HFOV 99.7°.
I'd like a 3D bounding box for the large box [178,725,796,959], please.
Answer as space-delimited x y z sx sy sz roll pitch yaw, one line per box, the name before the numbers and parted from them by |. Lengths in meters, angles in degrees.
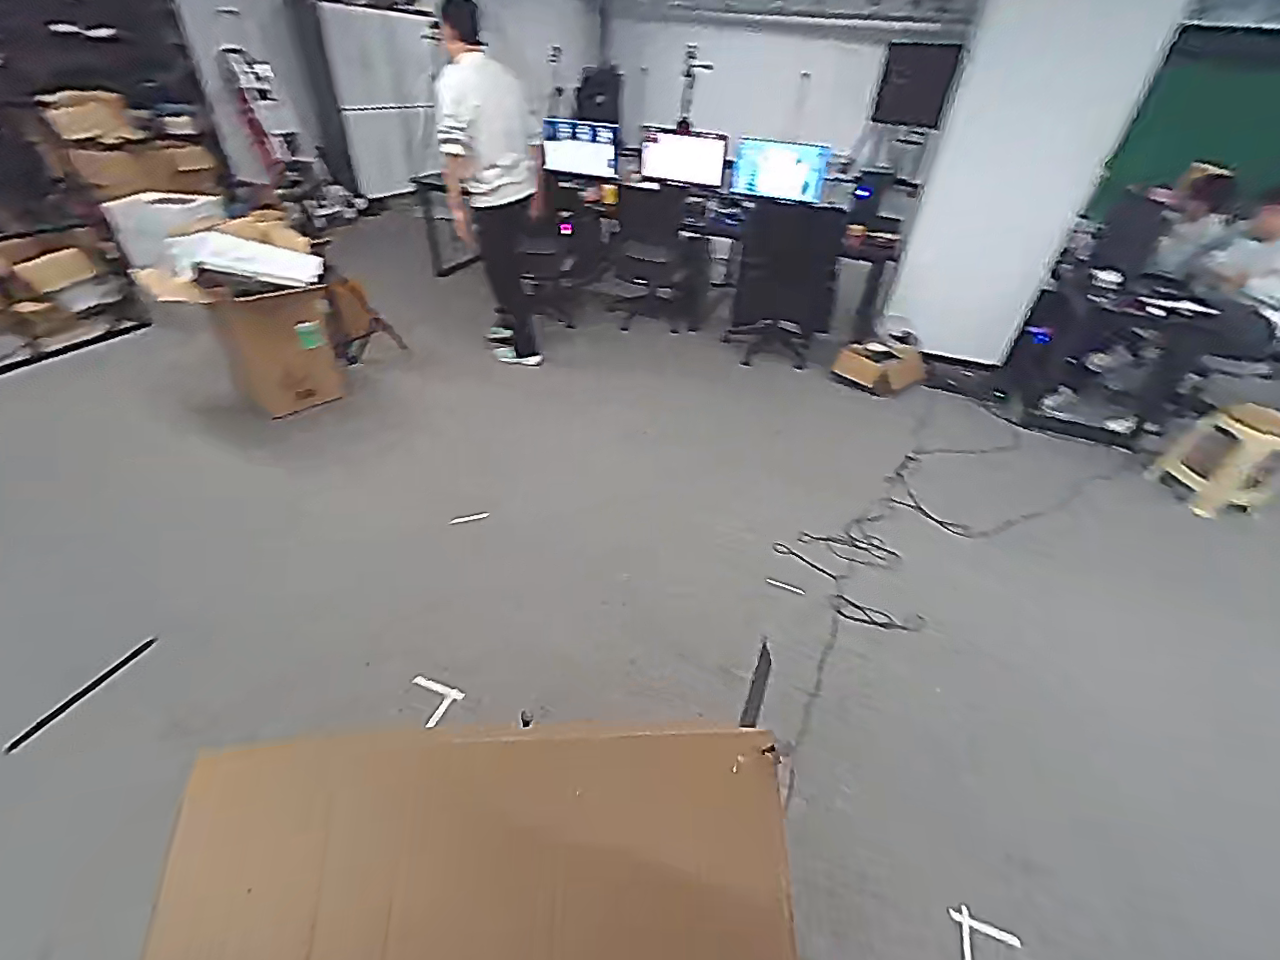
large box | -0.102 0.394 0.474 0.408 0.320 0.320 0 68 -3
